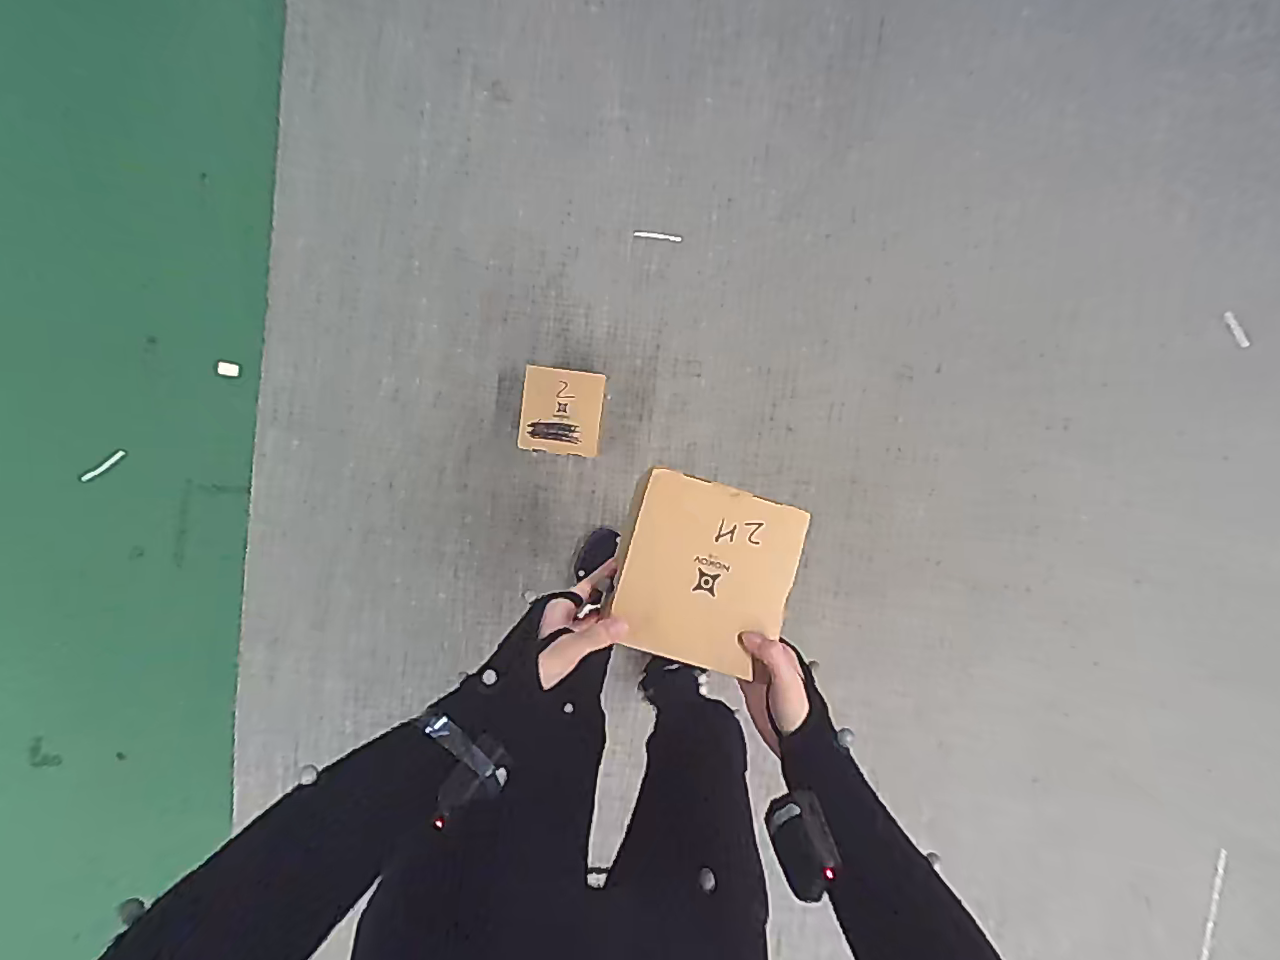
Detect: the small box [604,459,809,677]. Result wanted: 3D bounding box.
[{"bbox_3d":[0.062,0.093,0.605,0.168,0.176,0.179,17,82,-4],"label":"small box"}]
